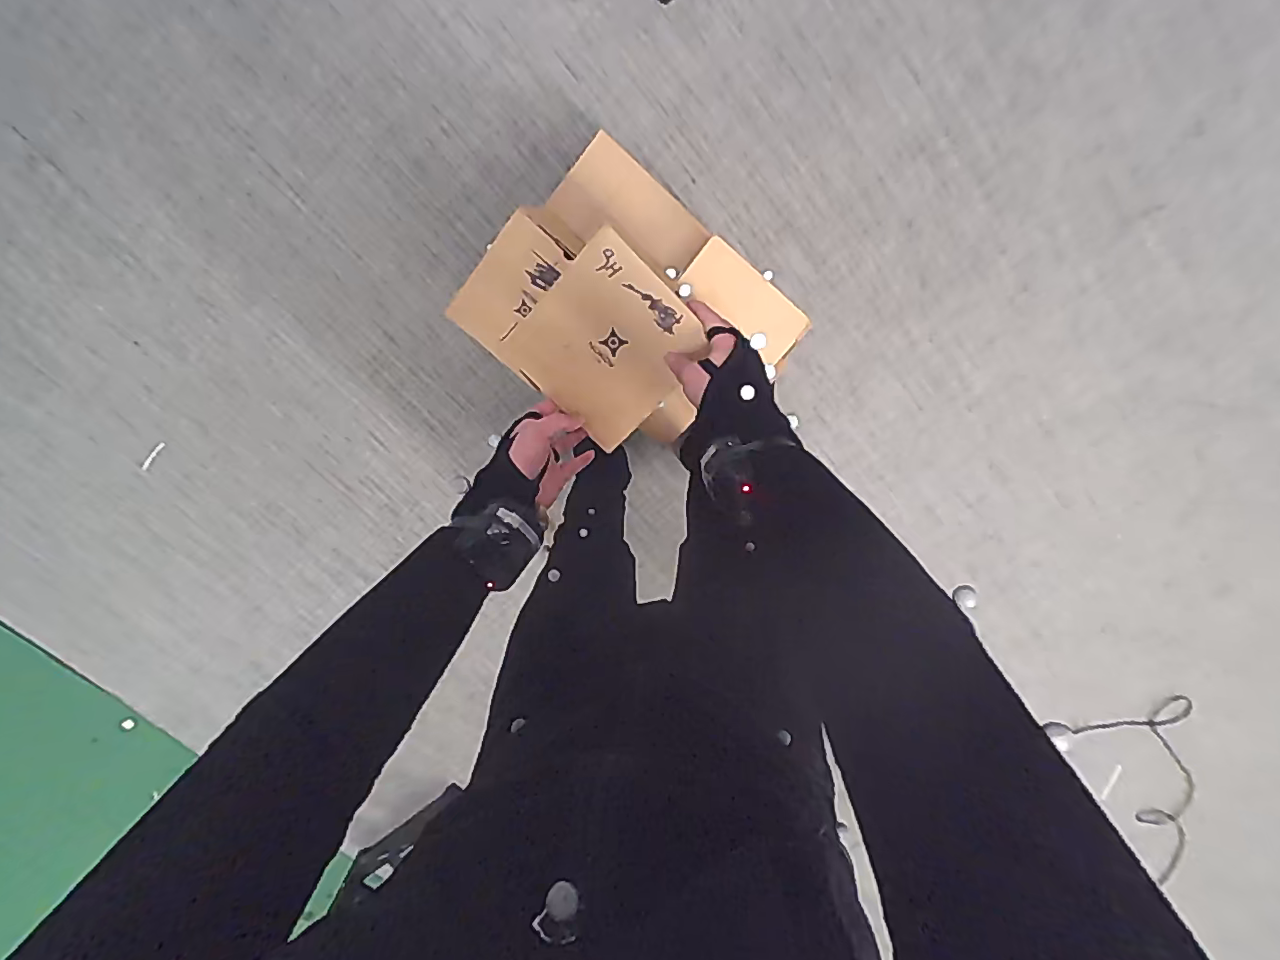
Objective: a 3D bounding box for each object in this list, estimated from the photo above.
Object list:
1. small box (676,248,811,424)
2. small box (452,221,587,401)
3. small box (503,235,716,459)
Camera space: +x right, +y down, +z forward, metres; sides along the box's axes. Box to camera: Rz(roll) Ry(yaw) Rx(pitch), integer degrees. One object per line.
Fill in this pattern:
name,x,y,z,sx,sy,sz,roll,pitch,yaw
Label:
small box,0.114,-0.213,0.793,0.179,0.176,0.168,37,107,-9
small box,-0.135,-0.251,0.795,0.168,0.176,0.179,41,112,-12
small box,-0.025,-0.159,0.643,0.168,0.176,0.179,43,110,-11
